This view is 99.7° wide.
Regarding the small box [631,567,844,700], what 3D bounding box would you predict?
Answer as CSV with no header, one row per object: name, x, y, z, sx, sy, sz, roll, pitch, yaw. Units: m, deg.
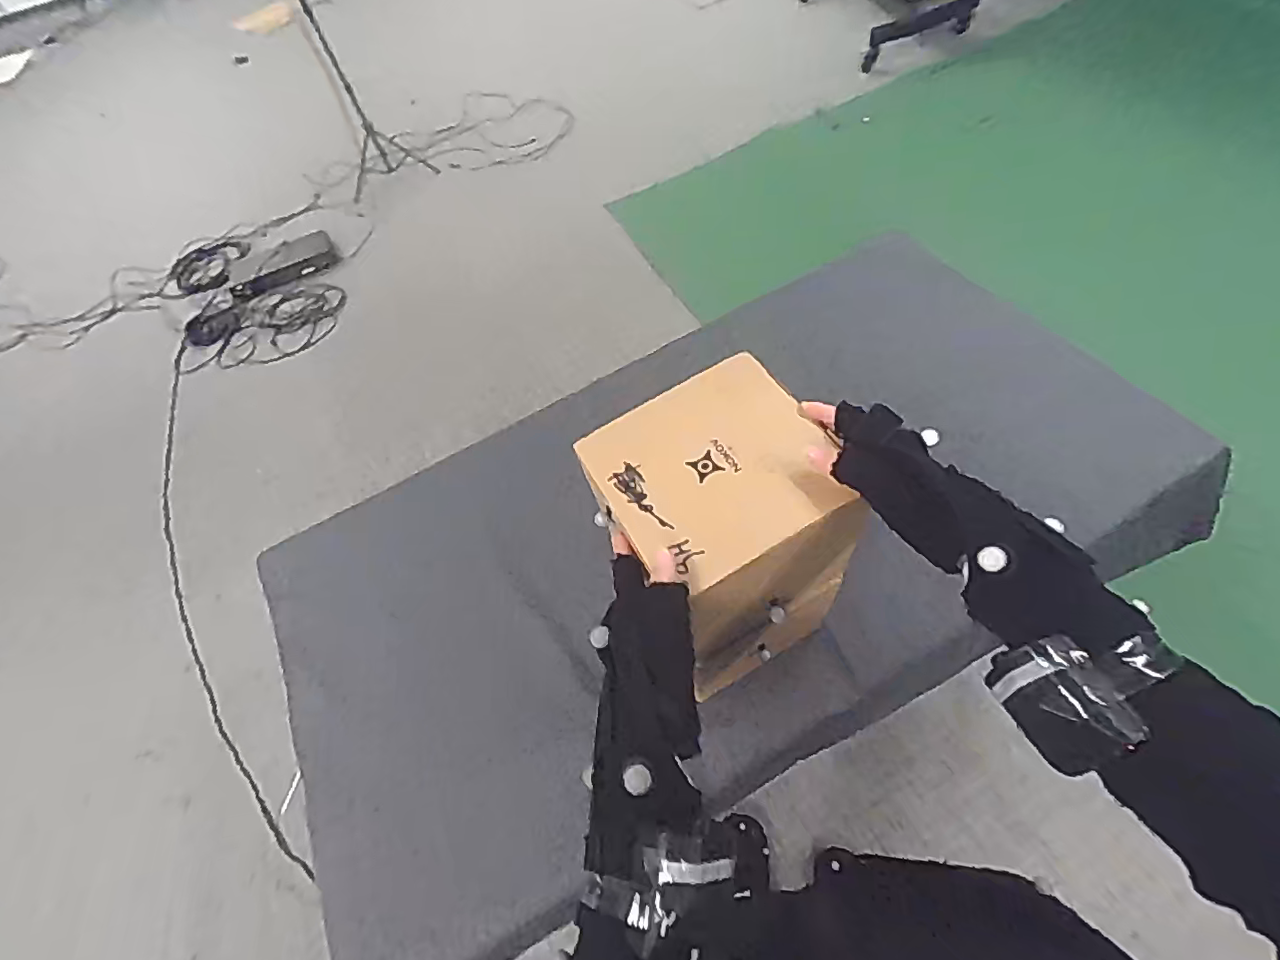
small box,0.097,0.124,0.623,0.179,0.176,0.168,-31,59,-11

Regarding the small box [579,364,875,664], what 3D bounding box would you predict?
small box,0.070,0.036,0.486,0.179,0.176,0.168,-28,57,-9
